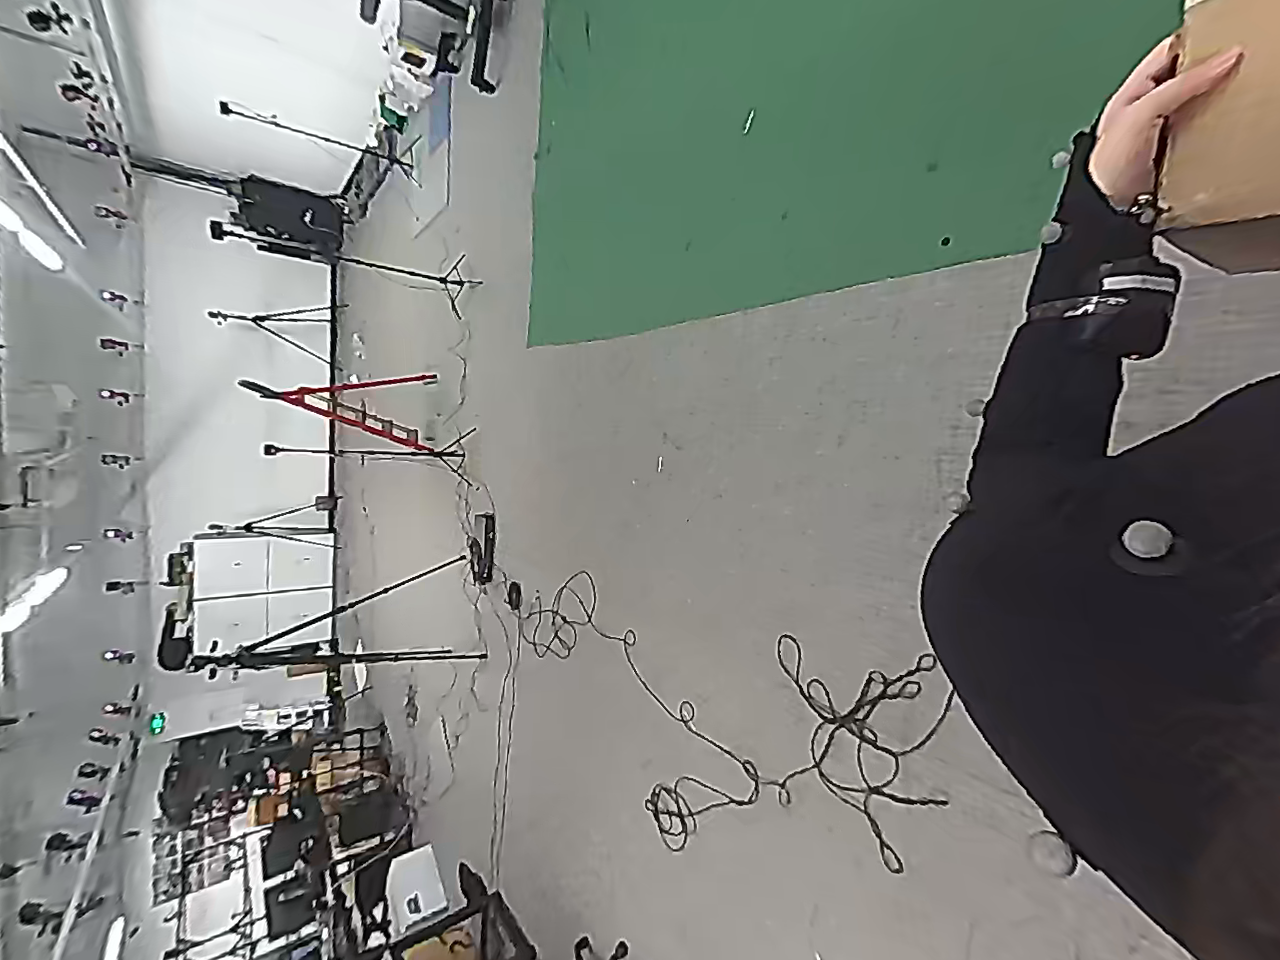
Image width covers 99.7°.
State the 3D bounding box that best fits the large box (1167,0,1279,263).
[{"bbox_3d":[0.634,-0.332,0.307,0.408,0.320,0.320,14,108,54],"label":"large box"}]
